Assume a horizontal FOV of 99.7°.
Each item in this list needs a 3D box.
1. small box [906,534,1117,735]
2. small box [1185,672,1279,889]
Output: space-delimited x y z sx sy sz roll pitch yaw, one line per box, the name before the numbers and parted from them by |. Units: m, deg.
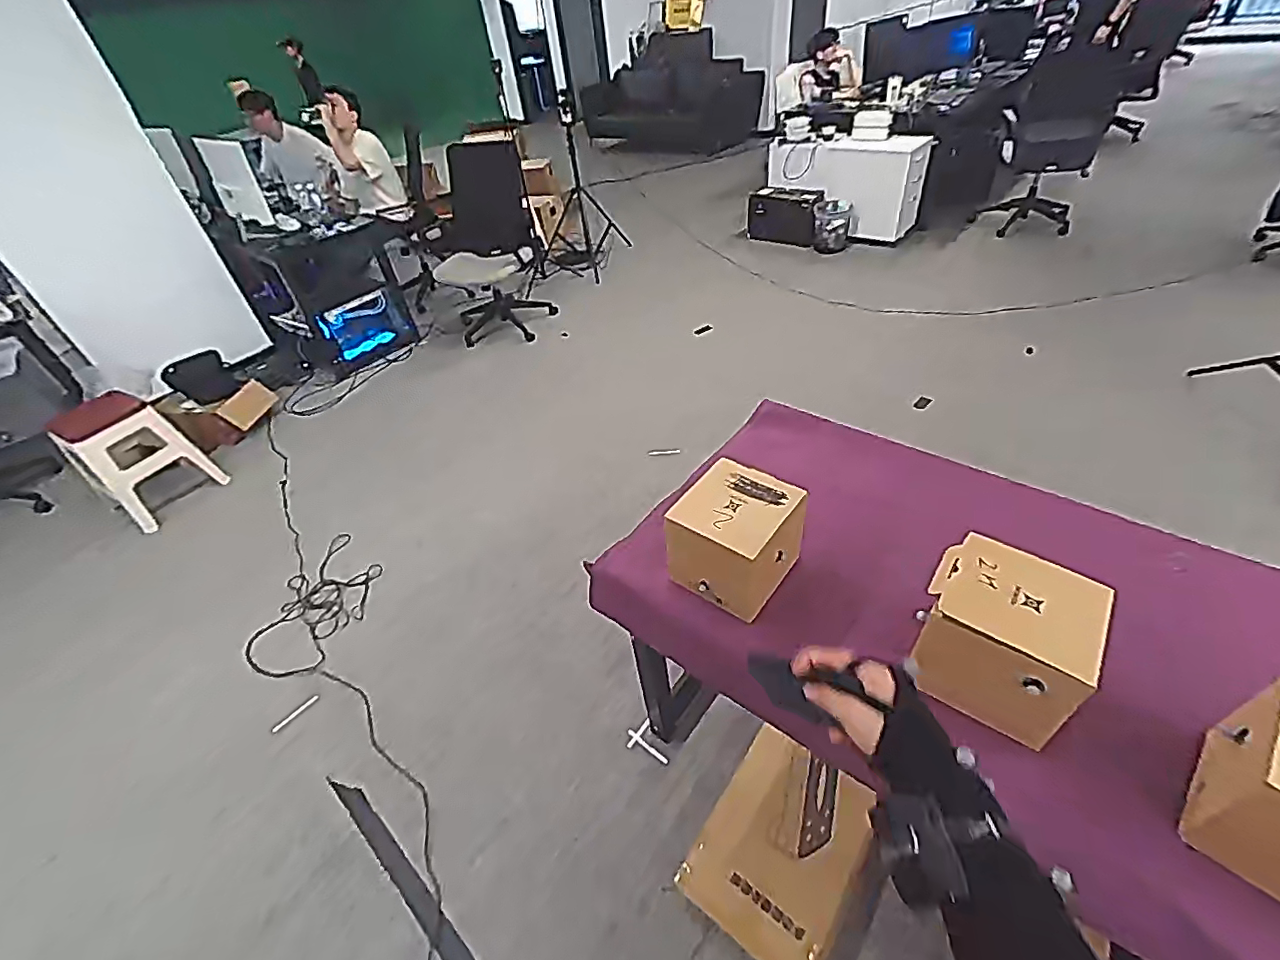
small box | 0.492 0.211 0.732 0.179 0.176 0.168 24 48 31
small box | 0.725 0.337 0.556 0.168 0.176 0.179 -37 49 -28
